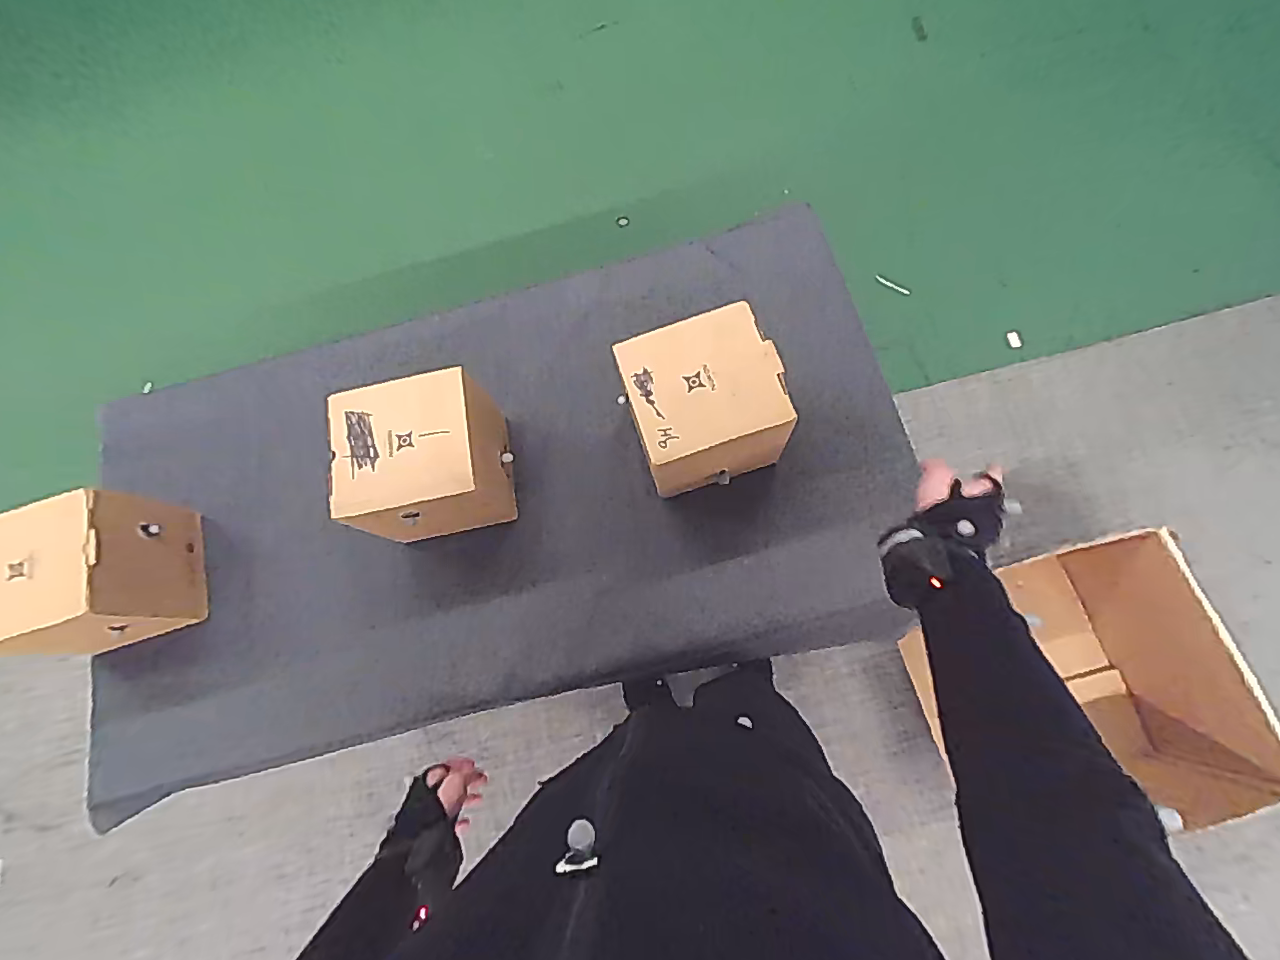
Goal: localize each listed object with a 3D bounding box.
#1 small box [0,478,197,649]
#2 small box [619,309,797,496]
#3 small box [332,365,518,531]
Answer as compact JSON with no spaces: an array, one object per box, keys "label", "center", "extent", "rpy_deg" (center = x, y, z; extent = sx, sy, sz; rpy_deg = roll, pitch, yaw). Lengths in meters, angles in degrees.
[{"label":"small box","center":[-0.733,0.116,0.718],"extent":[0.179,0.176,0.168],"rpy_deg":[-18,73,1]},{"label":"small box","center":[0.085,-0.093,0.729],"extent":[0.179,0.176,0.168],"rpy_deg":[-21,75,1]},{"label":"small box","center":[-0.279,-0.032,0.727],"extent":[0.179,0.176,0.168],"rpy_deg":[-9,76,4]}]
